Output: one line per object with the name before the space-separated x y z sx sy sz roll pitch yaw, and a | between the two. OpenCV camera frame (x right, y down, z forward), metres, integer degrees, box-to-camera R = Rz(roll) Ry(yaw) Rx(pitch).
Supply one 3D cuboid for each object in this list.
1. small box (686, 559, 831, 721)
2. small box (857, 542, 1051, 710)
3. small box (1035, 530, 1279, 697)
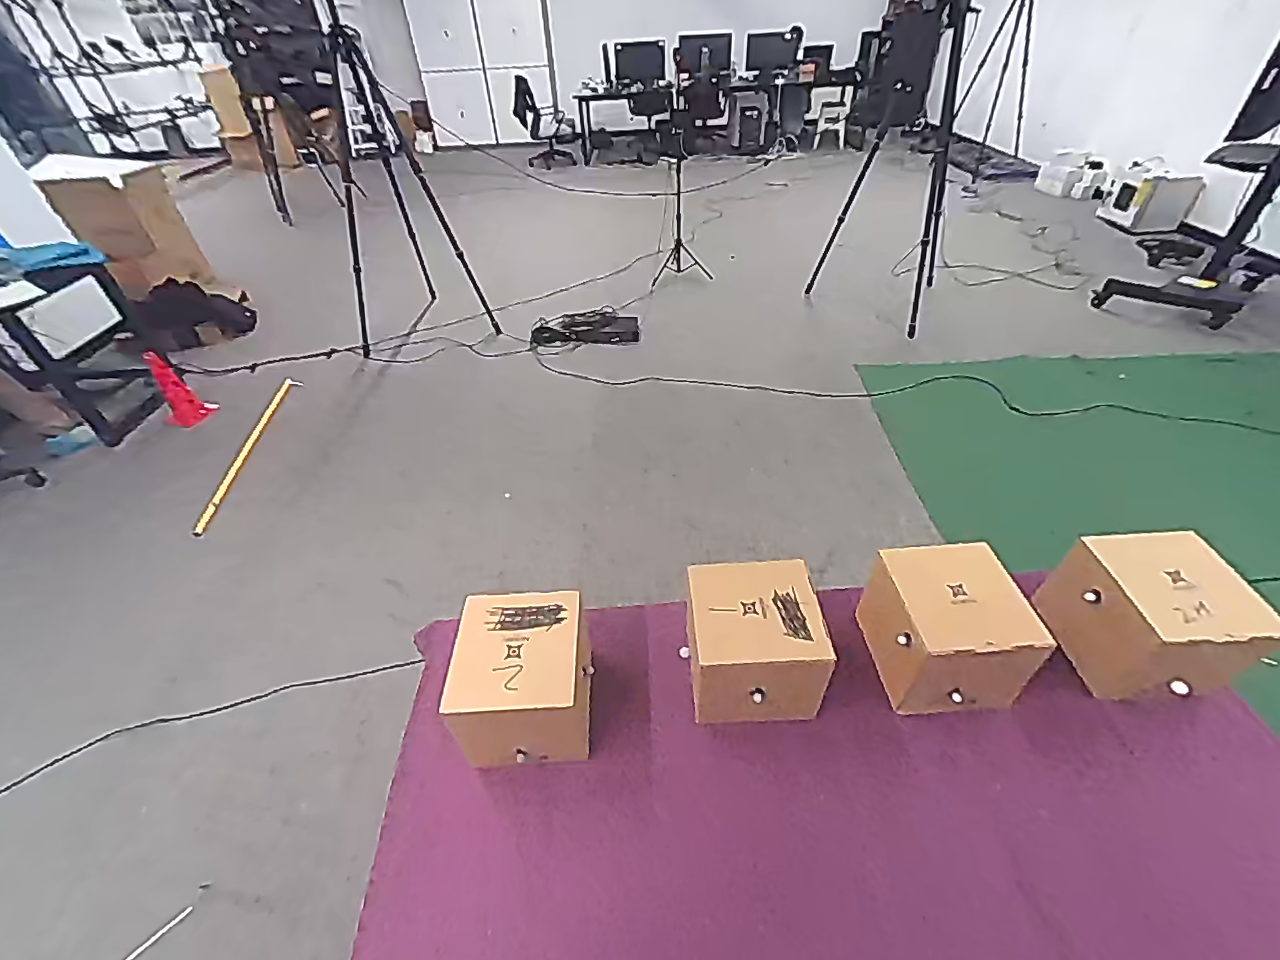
small box | 0.160 0.236 0.796 0.179 0.176 0.168 -4 41 2
small box | 0.441 0.214 0.800 0.168 0.176 0.179 -4 42 0
small box | 0.730 0.194 0.789 0.168 0.176 0.179 -4 44 2
